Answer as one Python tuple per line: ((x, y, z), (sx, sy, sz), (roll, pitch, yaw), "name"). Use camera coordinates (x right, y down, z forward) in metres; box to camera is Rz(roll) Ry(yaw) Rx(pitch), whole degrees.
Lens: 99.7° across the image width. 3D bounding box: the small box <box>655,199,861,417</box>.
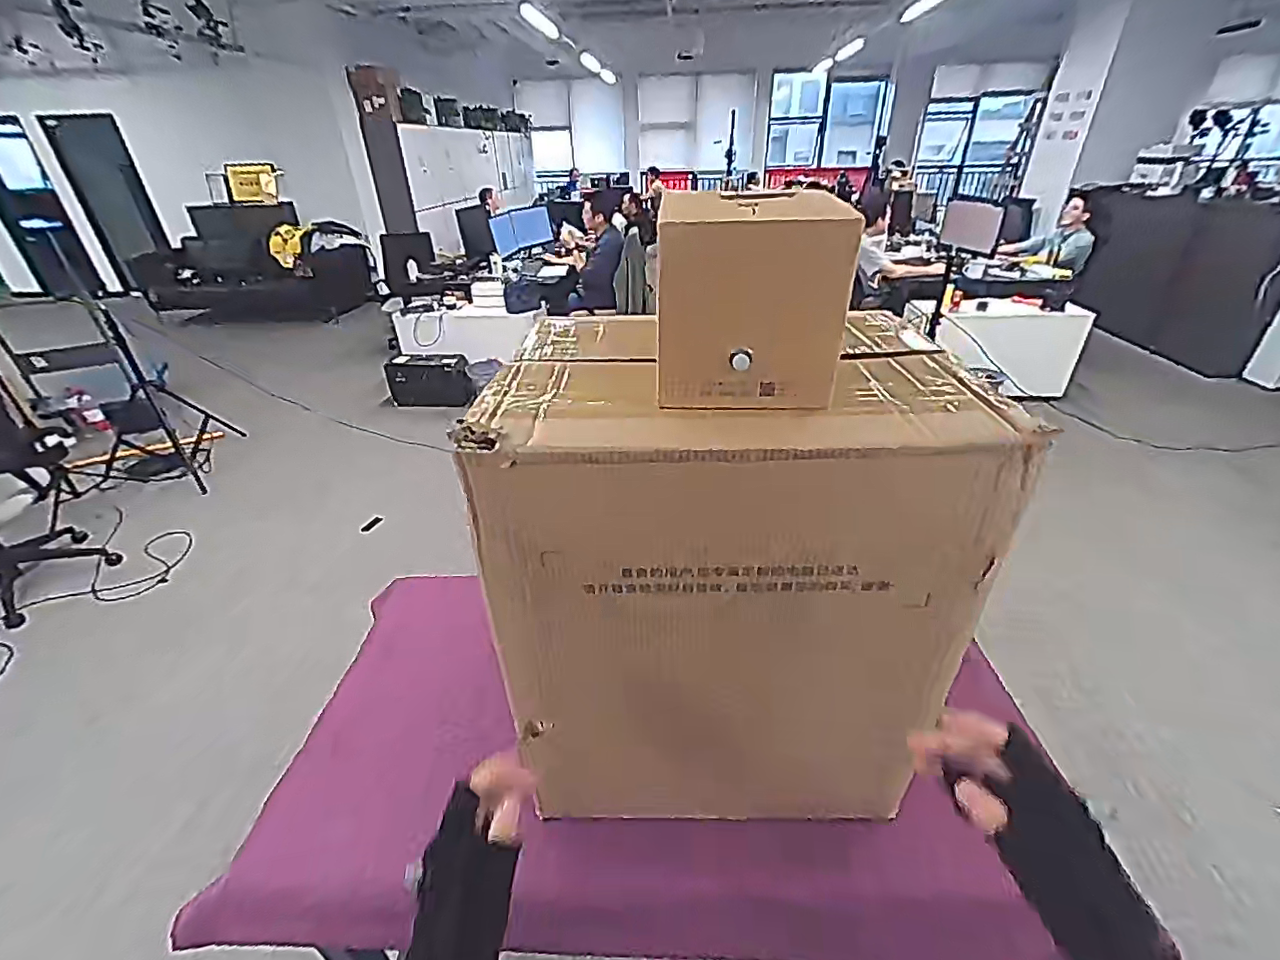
((0.101, -0.177, 0.542), (0.168, 0.176, 0.179), (1, 34, 5), "small box")
